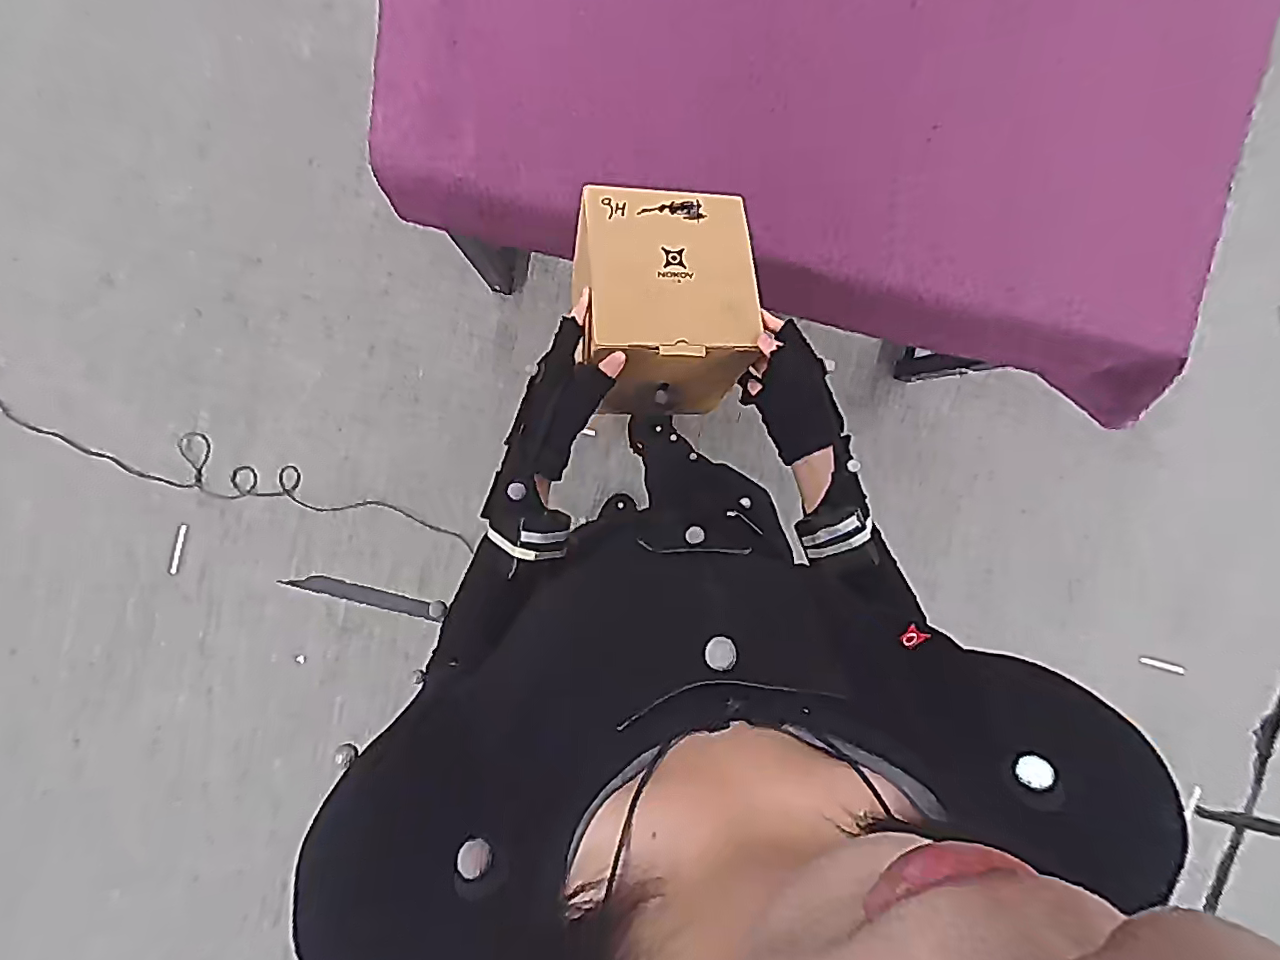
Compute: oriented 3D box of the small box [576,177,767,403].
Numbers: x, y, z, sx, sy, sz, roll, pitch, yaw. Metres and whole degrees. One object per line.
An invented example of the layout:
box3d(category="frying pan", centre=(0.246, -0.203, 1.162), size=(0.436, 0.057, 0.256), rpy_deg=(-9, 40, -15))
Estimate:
box3d(category="small box", centre=(0.021, -0.191, 0.591), size=(0.168, 0.176, 0.179), rpy_deg=(-2, 76, -12))
